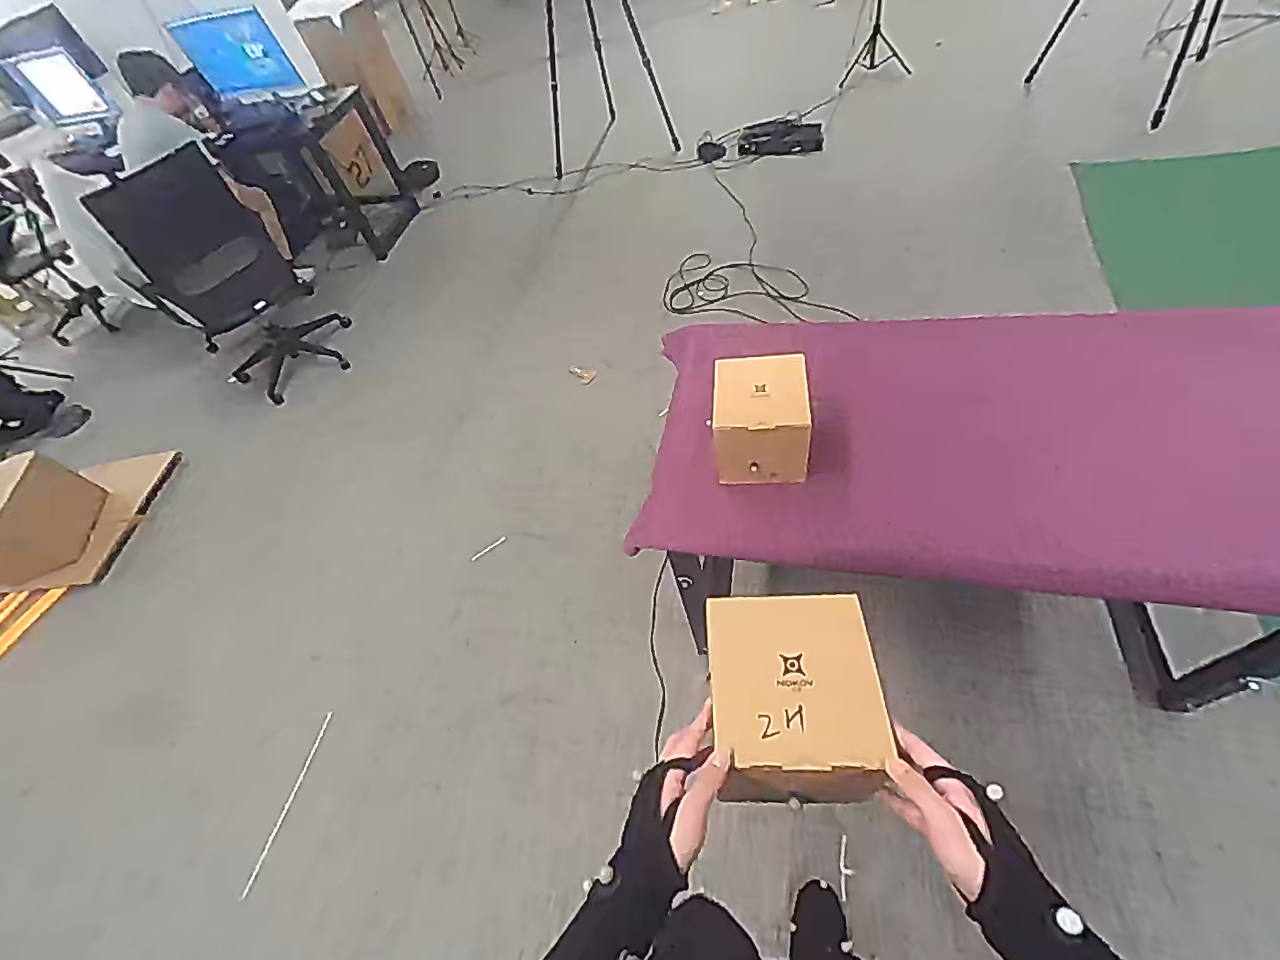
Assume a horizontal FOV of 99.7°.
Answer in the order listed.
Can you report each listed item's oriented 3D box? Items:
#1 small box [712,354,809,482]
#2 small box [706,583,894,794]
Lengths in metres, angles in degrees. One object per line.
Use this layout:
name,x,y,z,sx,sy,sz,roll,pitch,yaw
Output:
small box,0.225,-0.115,1.028,0.168,0.176,0.179,-2,55,12
small box,0.158,0.233,0.603,0.168,0.176,0.179,-3,50,7
